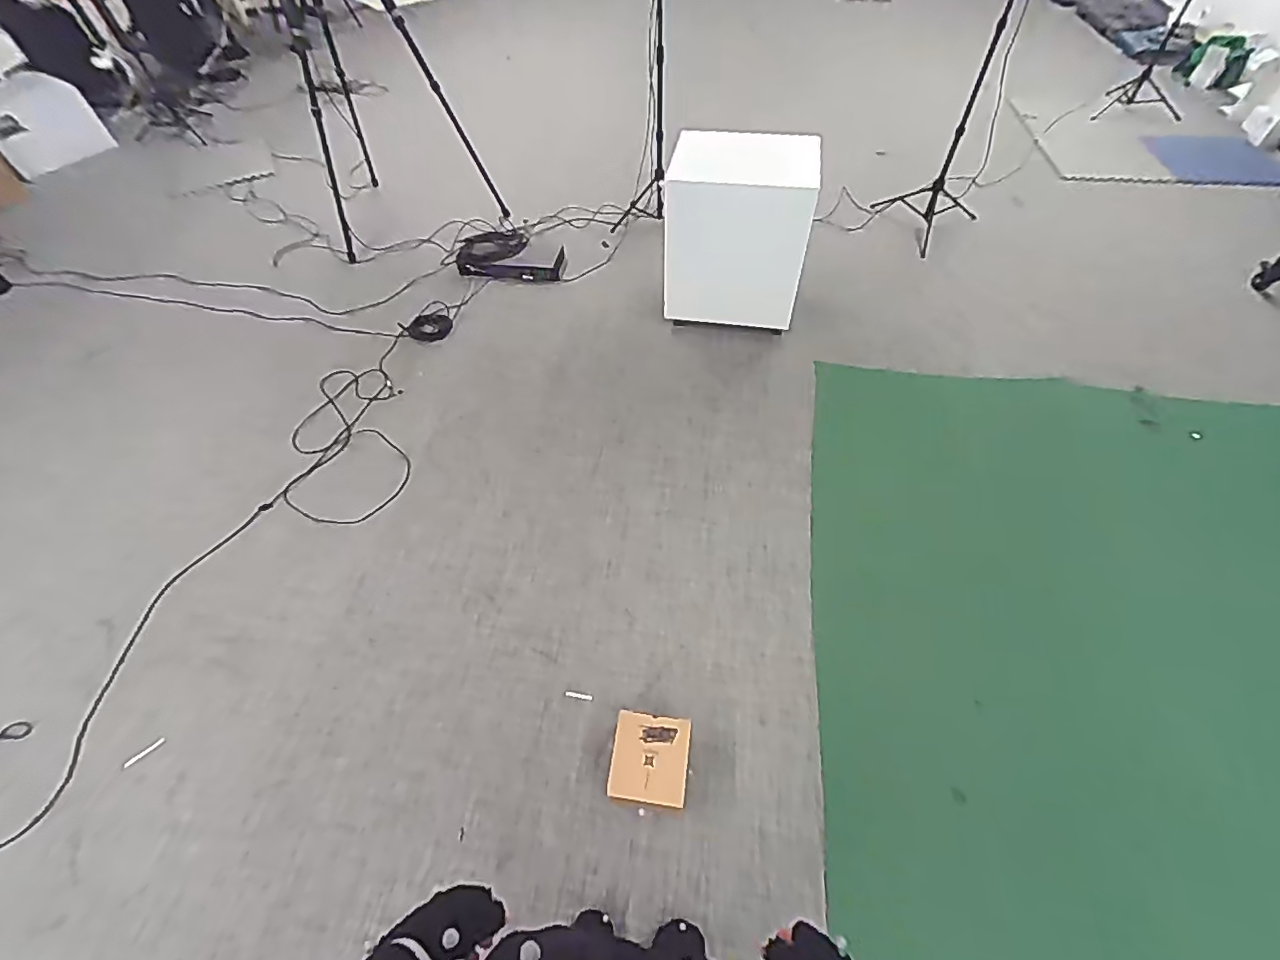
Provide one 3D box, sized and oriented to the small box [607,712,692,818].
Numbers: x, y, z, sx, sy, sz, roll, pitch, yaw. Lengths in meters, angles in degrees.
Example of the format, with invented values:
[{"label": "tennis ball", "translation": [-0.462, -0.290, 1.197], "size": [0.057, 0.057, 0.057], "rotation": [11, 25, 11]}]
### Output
[{"label": "small box", "translation": [0.024, 0.652, 1.232], "size": [0.168, 0.176, 0.179], "rotation": [6, 55, 6]}]
